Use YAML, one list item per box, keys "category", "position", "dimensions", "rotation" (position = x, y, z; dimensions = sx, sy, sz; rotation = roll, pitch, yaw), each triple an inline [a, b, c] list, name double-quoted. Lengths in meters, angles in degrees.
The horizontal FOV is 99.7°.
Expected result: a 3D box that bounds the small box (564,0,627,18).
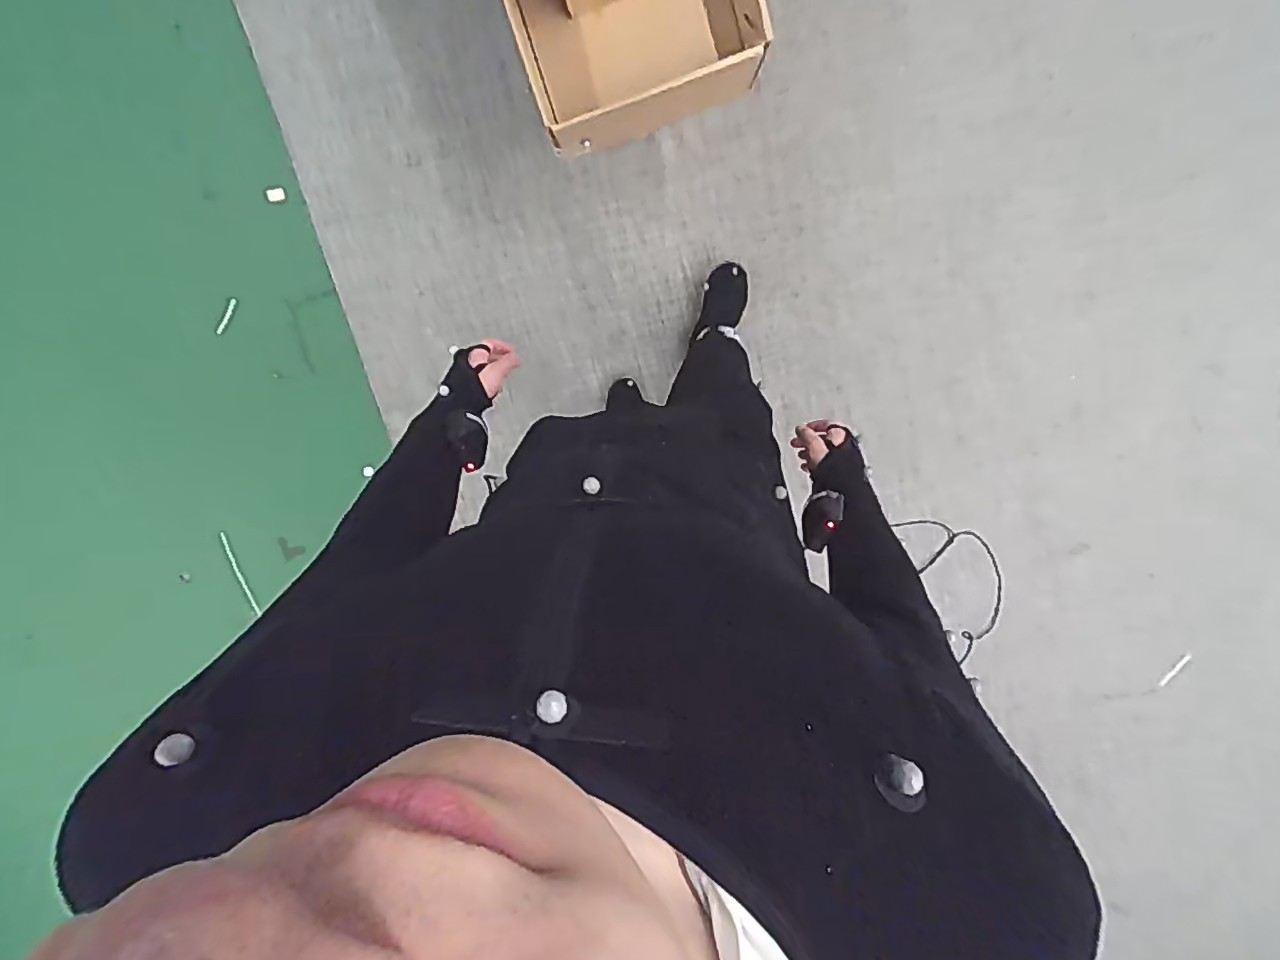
- category: "small box"
  position: [-0.079, -0.919, 0.879]
  dimensions: [0.168, 0.176, 0.179]
  rotation: [-16, 102, 7]
